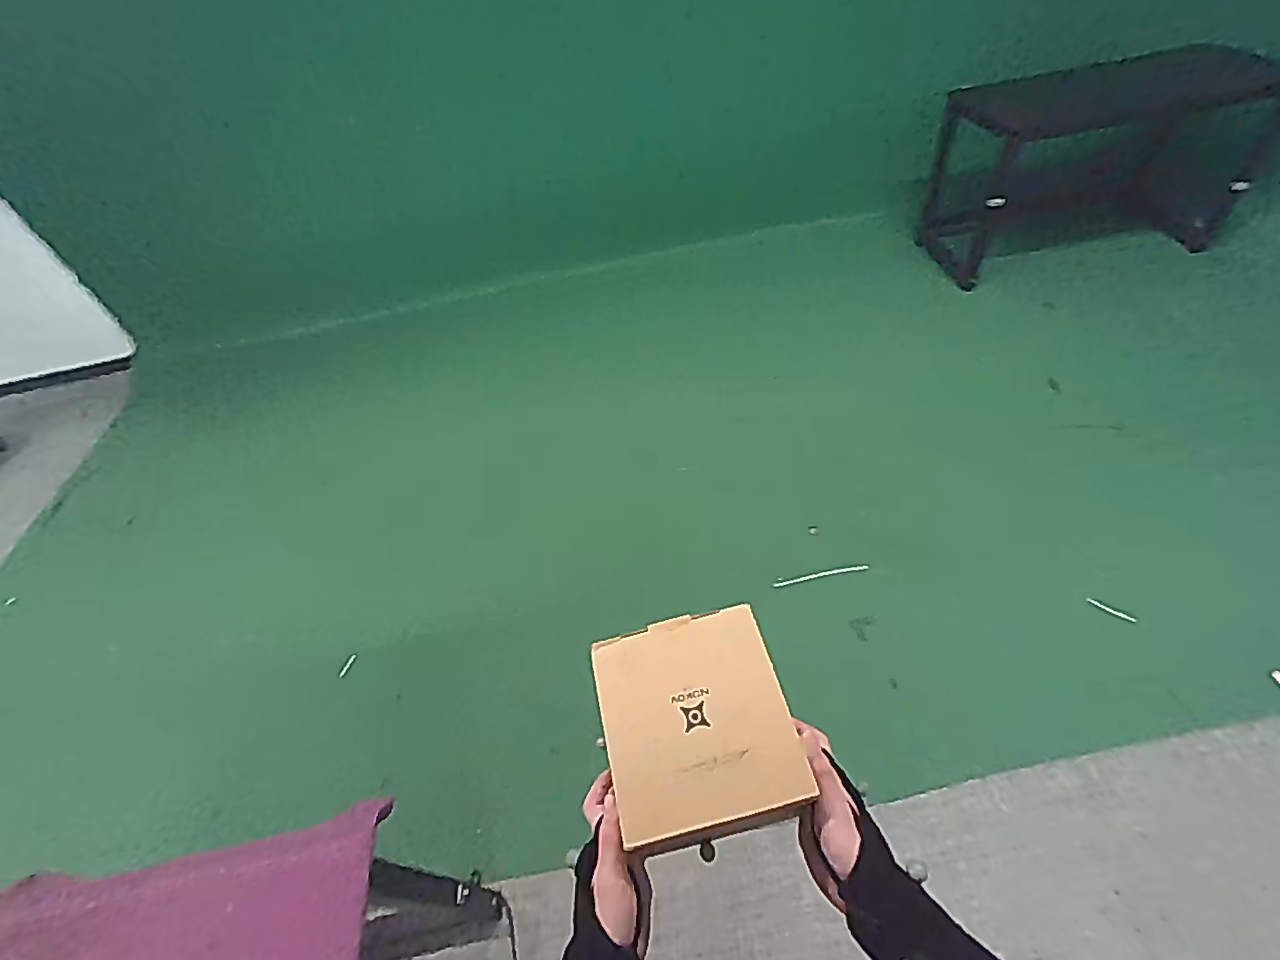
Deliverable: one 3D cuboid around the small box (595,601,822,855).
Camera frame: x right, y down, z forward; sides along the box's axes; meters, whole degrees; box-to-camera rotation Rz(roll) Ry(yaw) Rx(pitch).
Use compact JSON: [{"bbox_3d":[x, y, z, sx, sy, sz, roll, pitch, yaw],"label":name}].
[{"bbox_3d":[0.058,0.249,0.538,0.168,0.176,0.179,-13,52,-2],"label":"small box"}]
